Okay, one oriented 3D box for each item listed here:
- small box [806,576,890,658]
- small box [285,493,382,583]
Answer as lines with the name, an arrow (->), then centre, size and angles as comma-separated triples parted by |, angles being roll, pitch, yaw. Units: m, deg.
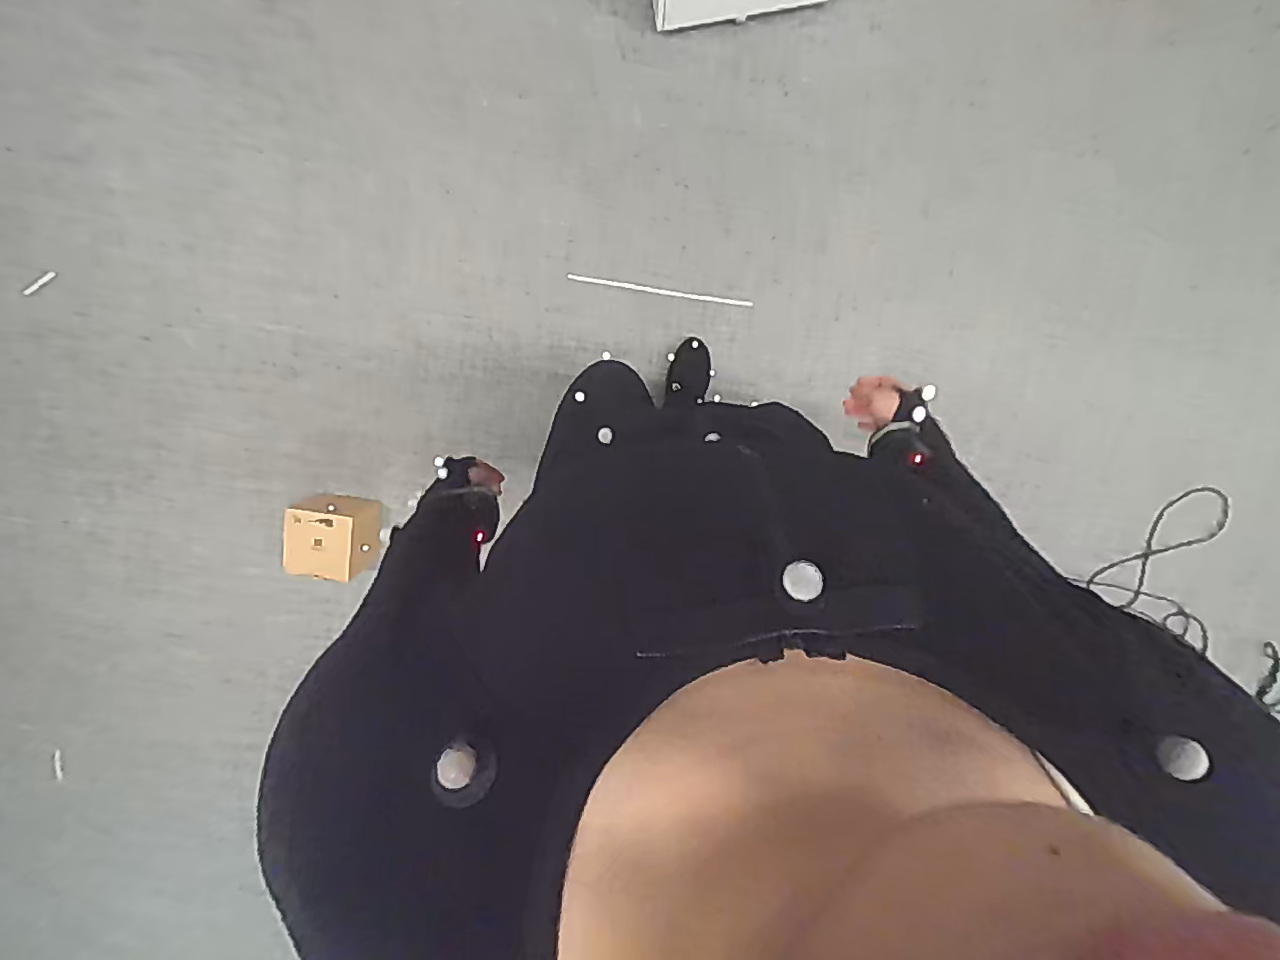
small box -> 0.564, 0.370, 1.474 | 0.179, 0.176, 0.168 | 0, 102, -1
small box -> -0.799, 0.147, 1.423 | 0.168, 0.176, 0.179 | 9, 102, -2
